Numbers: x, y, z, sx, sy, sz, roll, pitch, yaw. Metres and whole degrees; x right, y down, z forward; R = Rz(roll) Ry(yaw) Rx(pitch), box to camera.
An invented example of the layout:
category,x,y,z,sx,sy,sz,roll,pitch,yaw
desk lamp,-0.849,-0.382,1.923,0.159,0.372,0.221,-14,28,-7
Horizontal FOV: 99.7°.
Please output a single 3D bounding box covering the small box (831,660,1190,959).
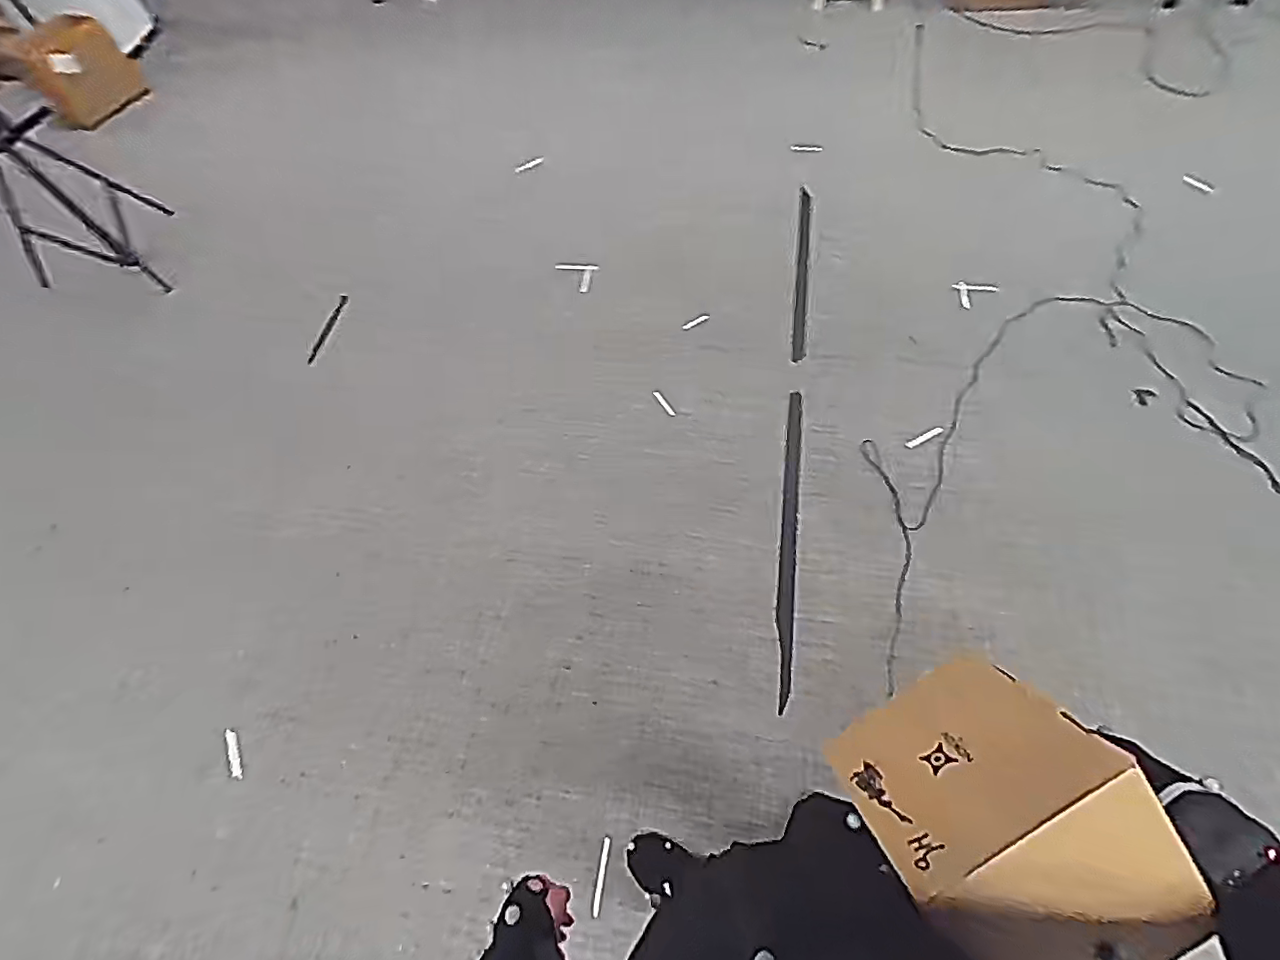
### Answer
category,x,y,z,sx,sy,sz,roll,pitch,yaw
small box,0.309,0.301,0.468,0.179,0.168,0.176,-34,100,2
